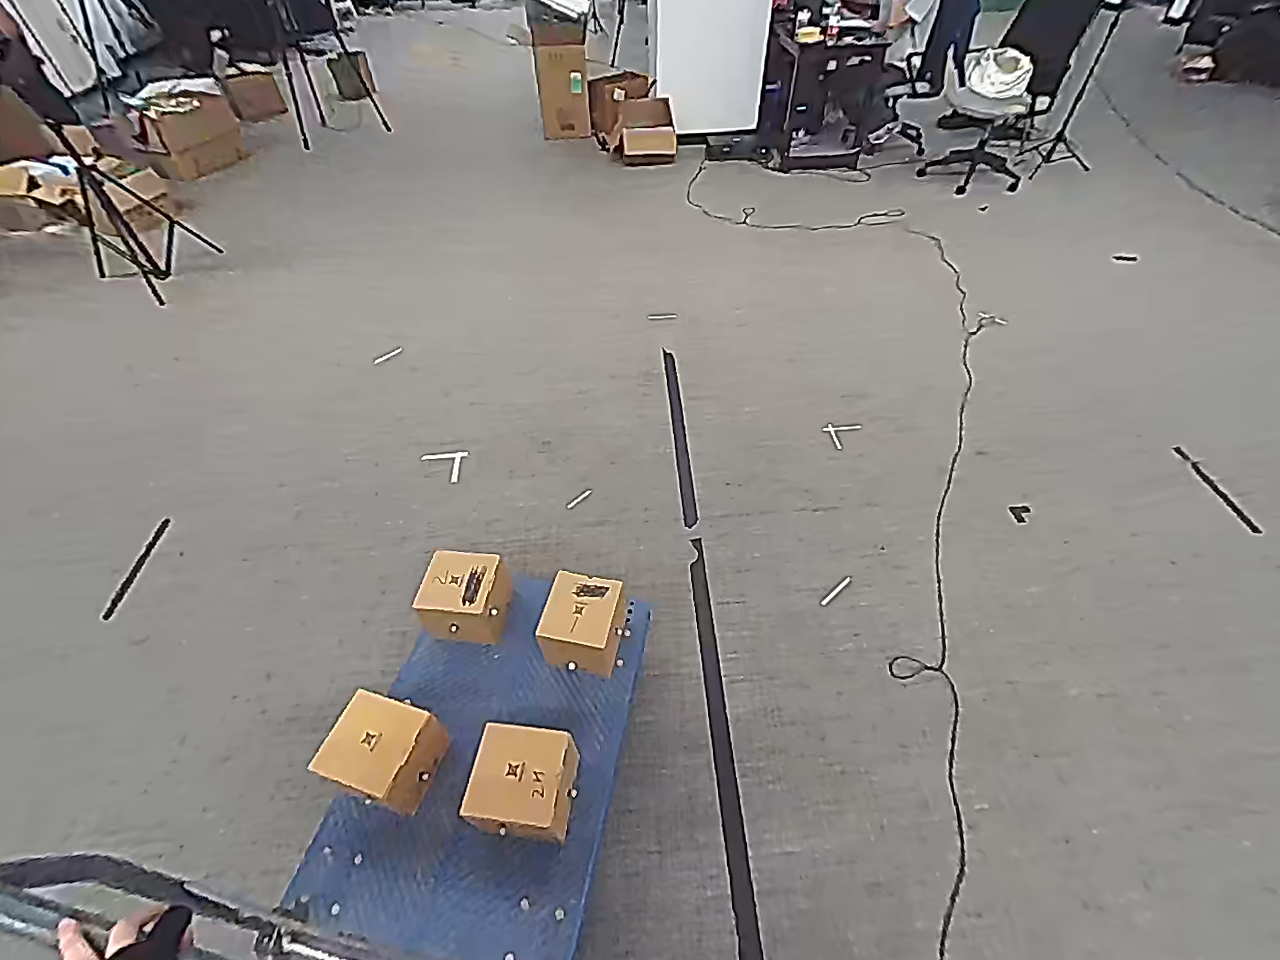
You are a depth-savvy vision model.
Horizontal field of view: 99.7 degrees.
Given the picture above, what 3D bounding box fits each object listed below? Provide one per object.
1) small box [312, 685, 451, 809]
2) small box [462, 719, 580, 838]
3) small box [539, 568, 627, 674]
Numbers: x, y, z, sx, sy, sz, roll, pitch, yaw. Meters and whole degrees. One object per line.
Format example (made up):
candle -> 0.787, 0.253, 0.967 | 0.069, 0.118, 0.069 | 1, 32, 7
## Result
small box -> -0.531, 0.565, 1.138 | 0.179, 0.176, 0.168 | 13, 49, 11
small box -> -0.229, 0.605, 1.091 | 0.179, 0.176, 0.168 | 5, 49, 6
small box -> -0.130, 0.346, 1.320 | 0.168, 0.176, 0.179 | 9, 50, 10
